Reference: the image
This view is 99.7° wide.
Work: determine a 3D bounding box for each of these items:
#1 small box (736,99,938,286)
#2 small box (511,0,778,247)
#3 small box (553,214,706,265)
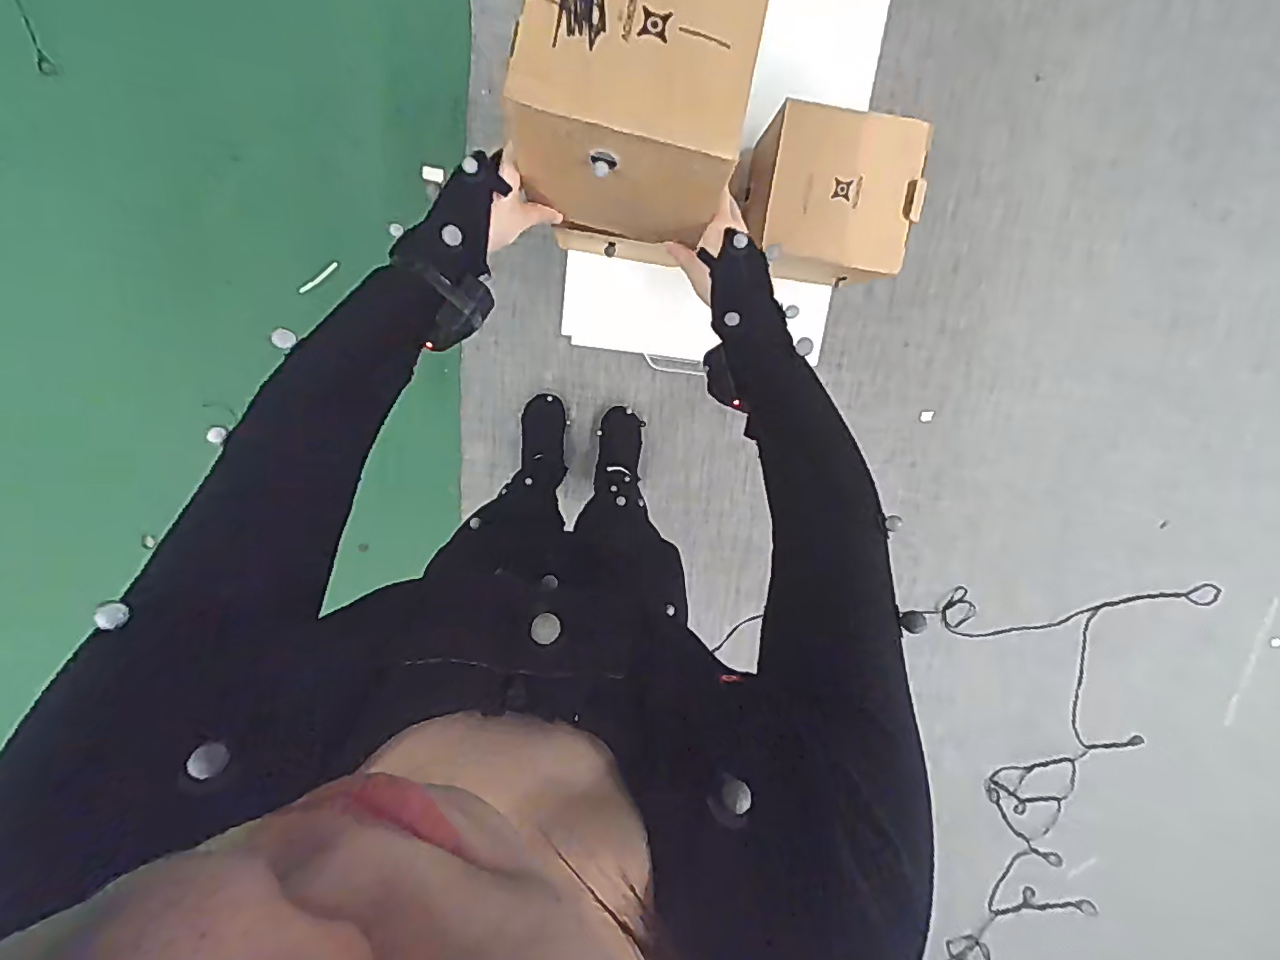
[{"bbox_3d":[0.237,-0.352,0.699,0.179,0.176,0.168,8,104,-3],"label":"small box"},{"bbox_3d":[0.001,-0.329,0.472,0.179,0.176,0.168,12,90,-6],"label":"small box"},{"bbox_3d":[-0.006,-0.373,0.677,0.179,0.176,0.168,7,105,-6],"label":"small box"}]
